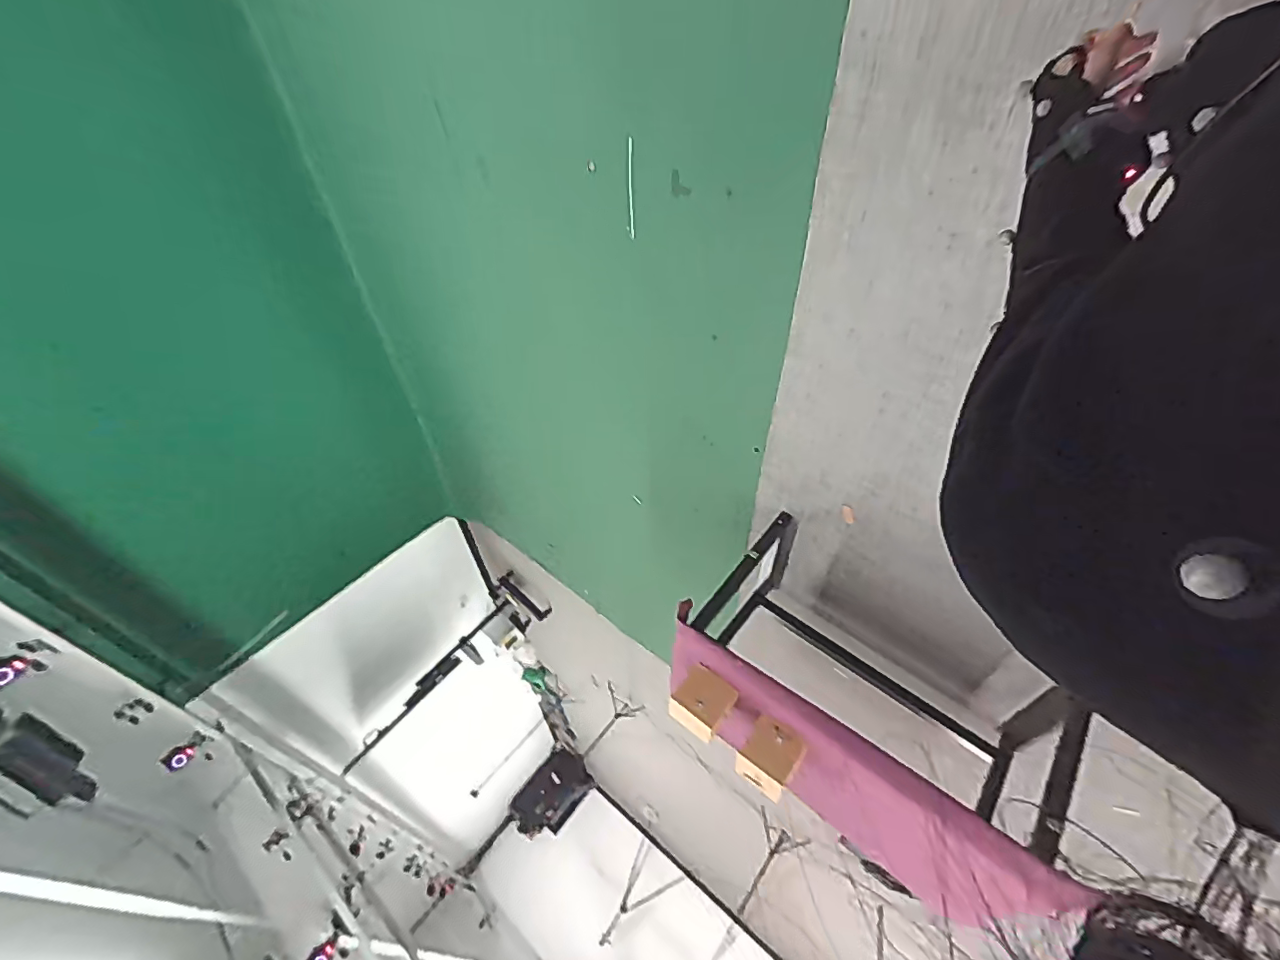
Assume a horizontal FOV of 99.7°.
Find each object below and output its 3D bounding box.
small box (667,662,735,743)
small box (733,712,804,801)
[{"bbox_3d":[0.214,0.773,1.891,0.179,0.176,0.168,31,146,25],"label":"small box"},{"bbox_3d":[0.425,0.912,1.790,0.168,0.176,0.179,28,143,29],"label":"small box"}]
